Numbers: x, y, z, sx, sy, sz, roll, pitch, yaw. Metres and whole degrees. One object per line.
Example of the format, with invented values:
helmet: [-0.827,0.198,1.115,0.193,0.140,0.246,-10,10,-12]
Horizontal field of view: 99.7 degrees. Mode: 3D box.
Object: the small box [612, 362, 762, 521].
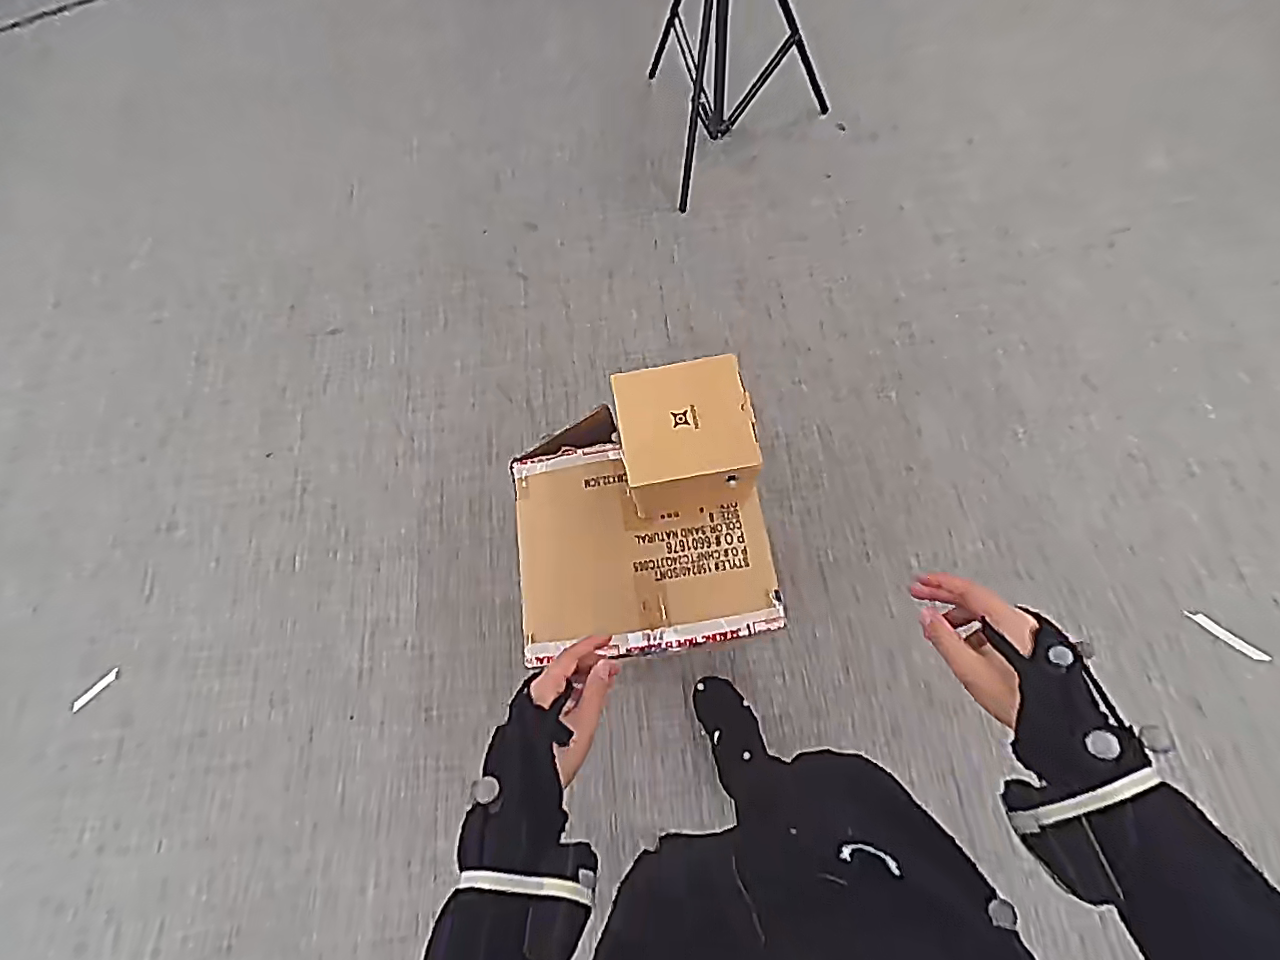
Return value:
small box: [0.065,-0.047,0.791,0.179,0.176,0.168,-10,72,0]
